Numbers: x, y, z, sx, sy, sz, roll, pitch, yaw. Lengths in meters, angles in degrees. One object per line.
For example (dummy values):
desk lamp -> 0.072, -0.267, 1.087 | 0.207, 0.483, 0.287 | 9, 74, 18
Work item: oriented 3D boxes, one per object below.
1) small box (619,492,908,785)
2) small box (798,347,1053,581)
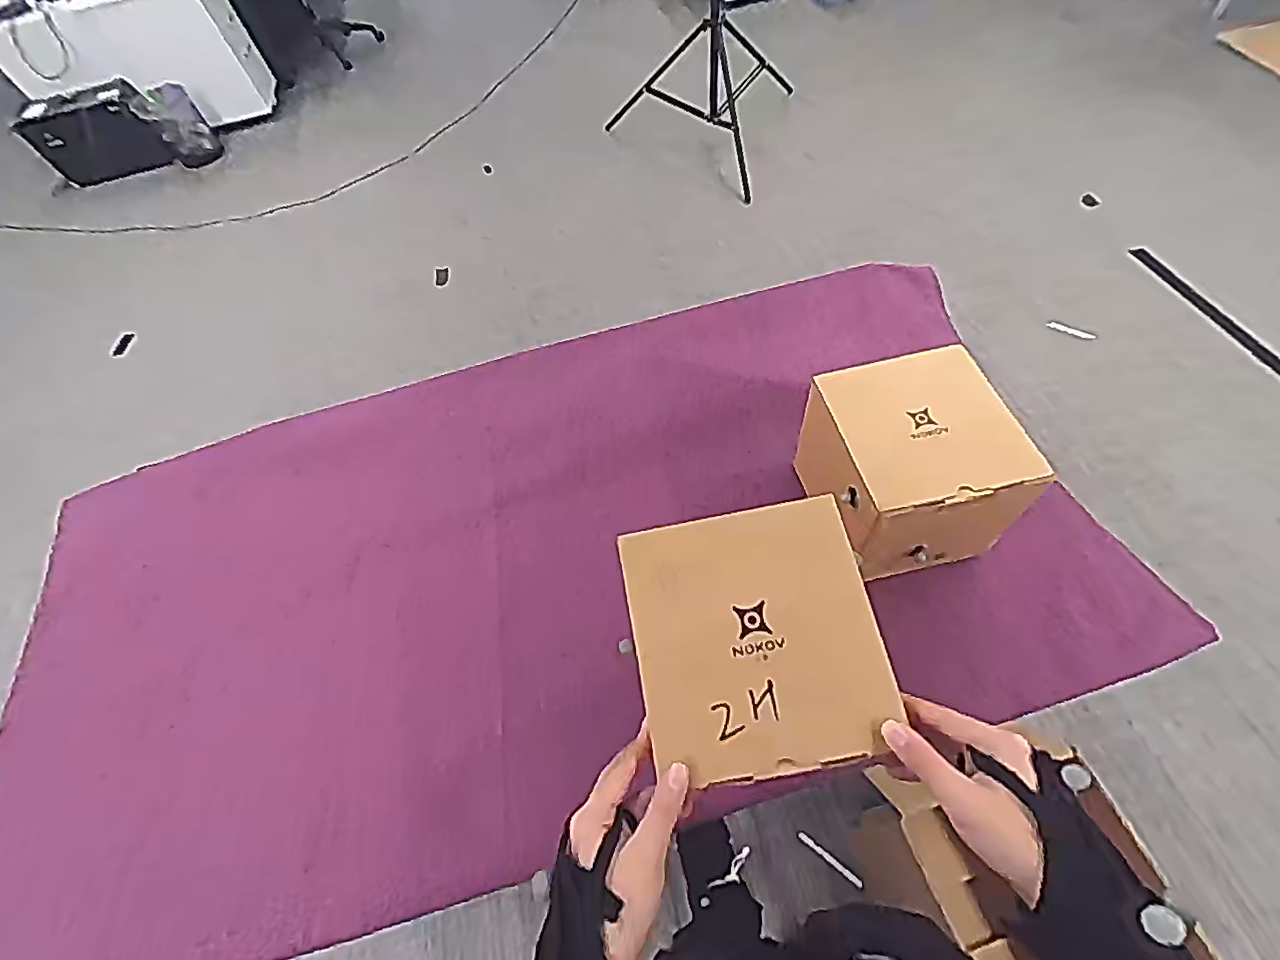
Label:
small box -> 0.084, 0.132, 0.446 | 0.168, 0.176, 0.179 | -12, 67, 3
small box -> 0.286, -0.013, 0.596 | 0.168, 0.176, 0.179 | -13, 57, 0
